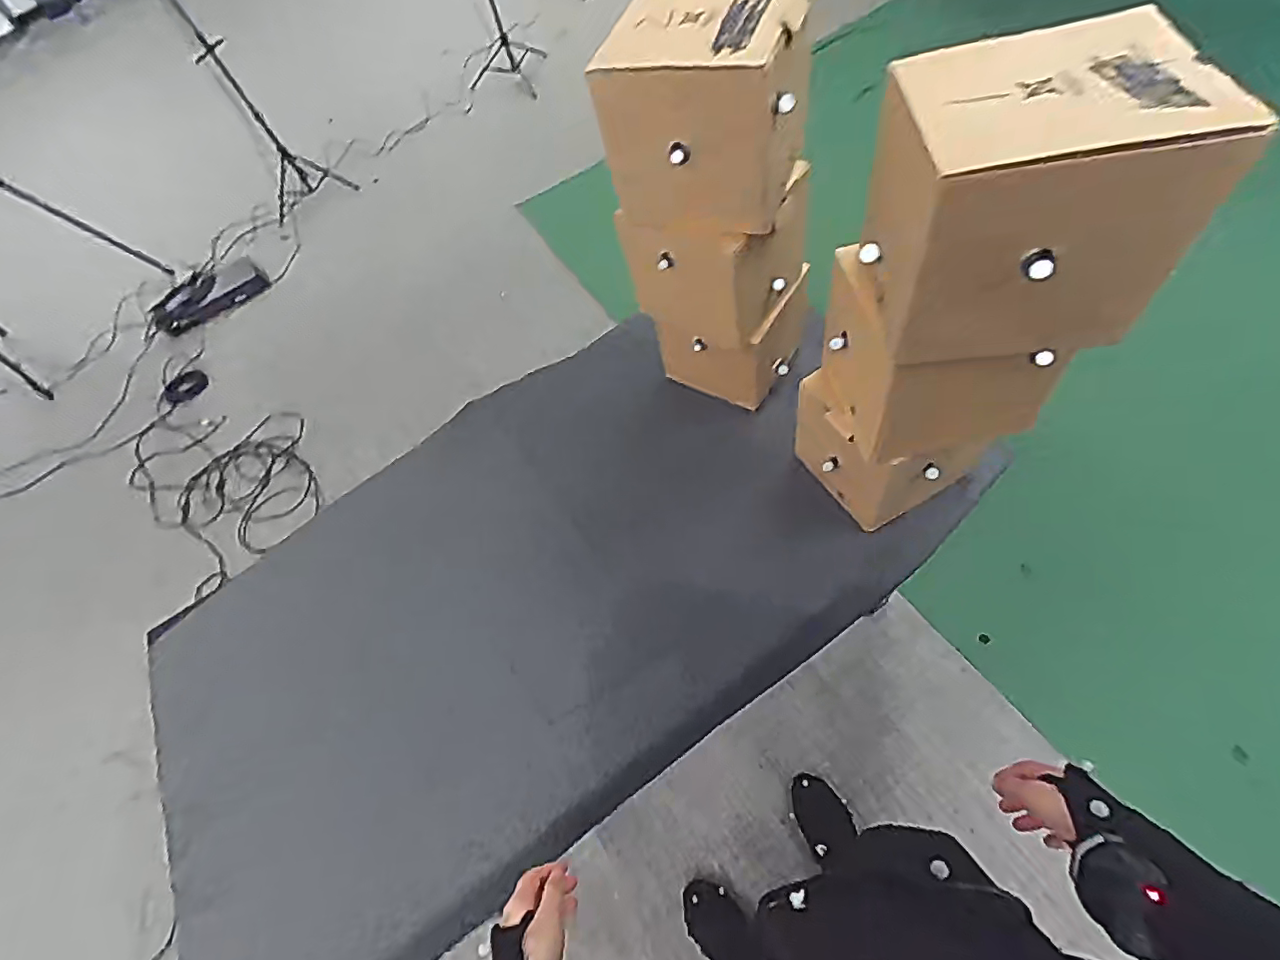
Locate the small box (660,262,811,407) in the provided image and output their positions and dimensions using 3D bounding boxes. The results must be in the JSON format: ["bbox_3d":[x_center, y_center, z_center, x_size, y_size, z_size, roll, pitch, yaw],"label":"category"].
[{"bbox_3d":[0.147,-0.243,0.854,0.179,0.176,0.168,27,72,22],"label":"small box"}]

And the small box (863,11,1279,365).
[{"bbox_3d":[0.288,-0.209,0.418,0.179,0.176,0.168,-4,58,12],"label":"small box"}]

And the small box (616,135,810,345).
[{"bbox_3d":[0.099,-0.307,0.708,0.179,0.176,0.168,31,74,25],"label":"small box"}]

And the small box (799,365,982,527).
[{"bbox_3d":[0.330,-0.066,0.713,0.179,0.176,0.168,-30,57,-5],"label":"small box"}]

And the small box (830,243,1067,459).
[{"bbox_3d":[0.309,-0.141,0.568,0.179,0.176,0.168,-12,57,5],"label":"small box"}]
